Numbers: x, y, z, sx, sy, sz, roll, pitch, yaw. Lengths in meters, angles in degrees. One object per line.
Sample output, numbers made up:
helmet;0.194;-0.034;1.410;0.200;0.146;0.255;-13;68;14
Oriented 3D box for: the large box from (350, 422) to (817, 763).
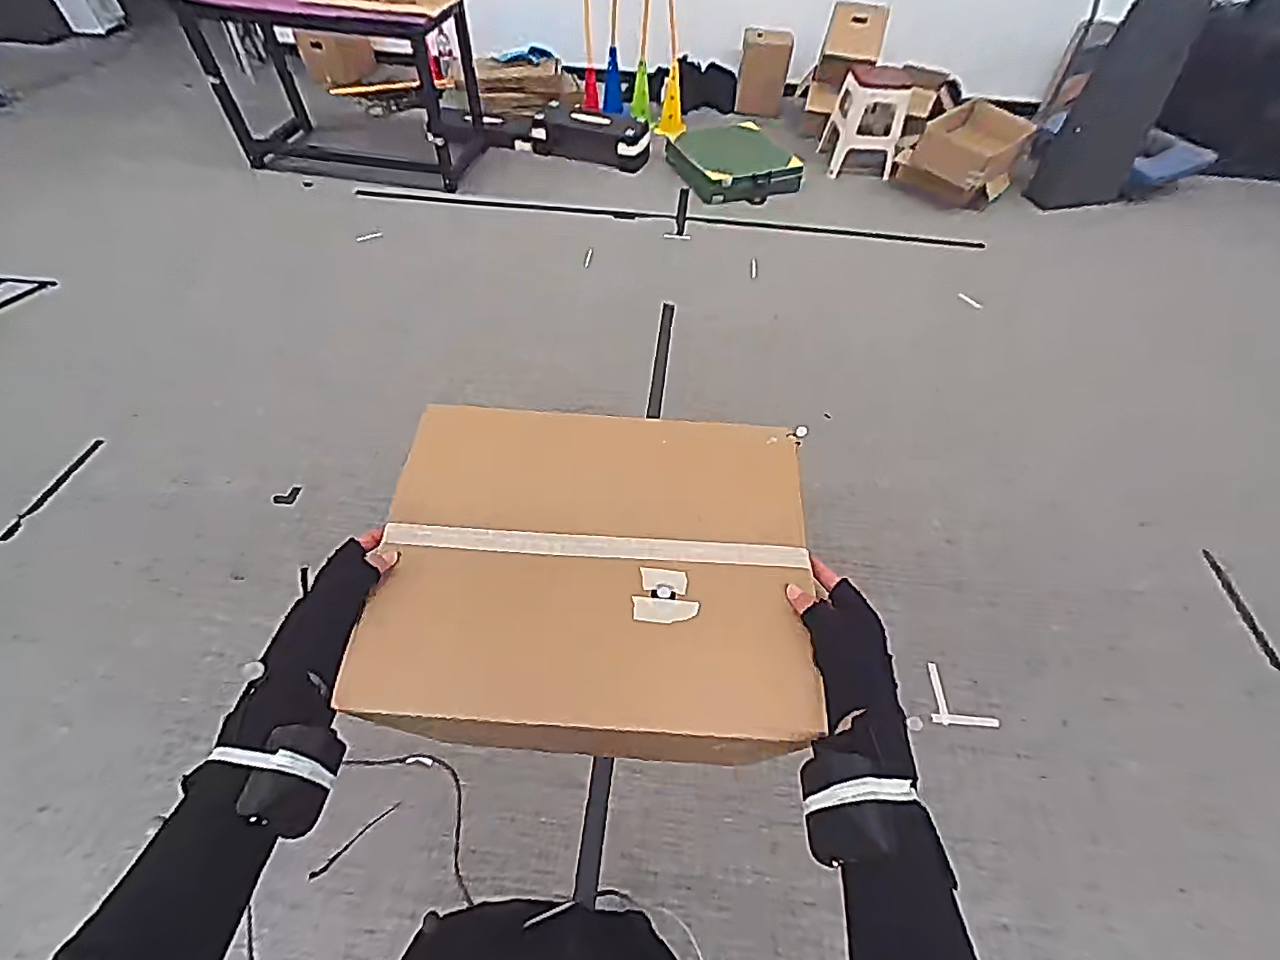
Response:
large box;-0.047;0.152;0.656;0.408;0.320;0.320;4;59;0
